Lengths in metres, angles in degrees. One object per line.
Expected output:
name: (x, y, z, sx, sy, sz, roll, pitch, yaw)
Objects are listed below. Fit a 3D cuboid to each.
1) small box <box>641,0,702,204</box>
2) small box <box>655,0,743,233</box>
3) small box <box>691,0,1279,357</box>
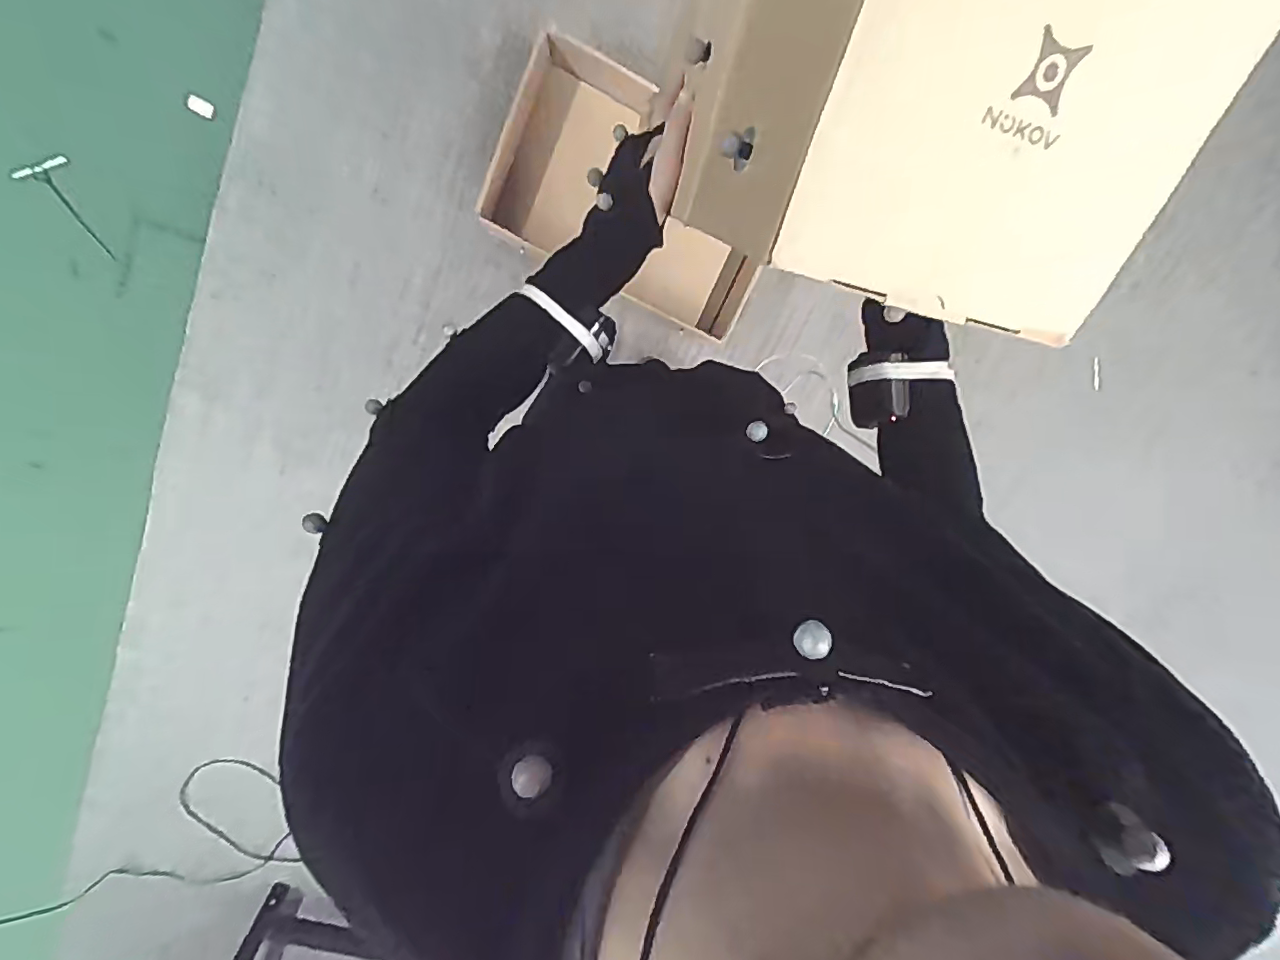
small box: (0.103, -0.354, 0.553, 0.179, 0.176, 0.168, 9, 120, -11)
small box: (0.116, -0.268, 0.415, 0.179, 0.176, 0.168, 9, 119, -11)
small box: (0.134, -0.187, 0.274, 0.168, 0.176, 0.179, 10, 118, -14)
